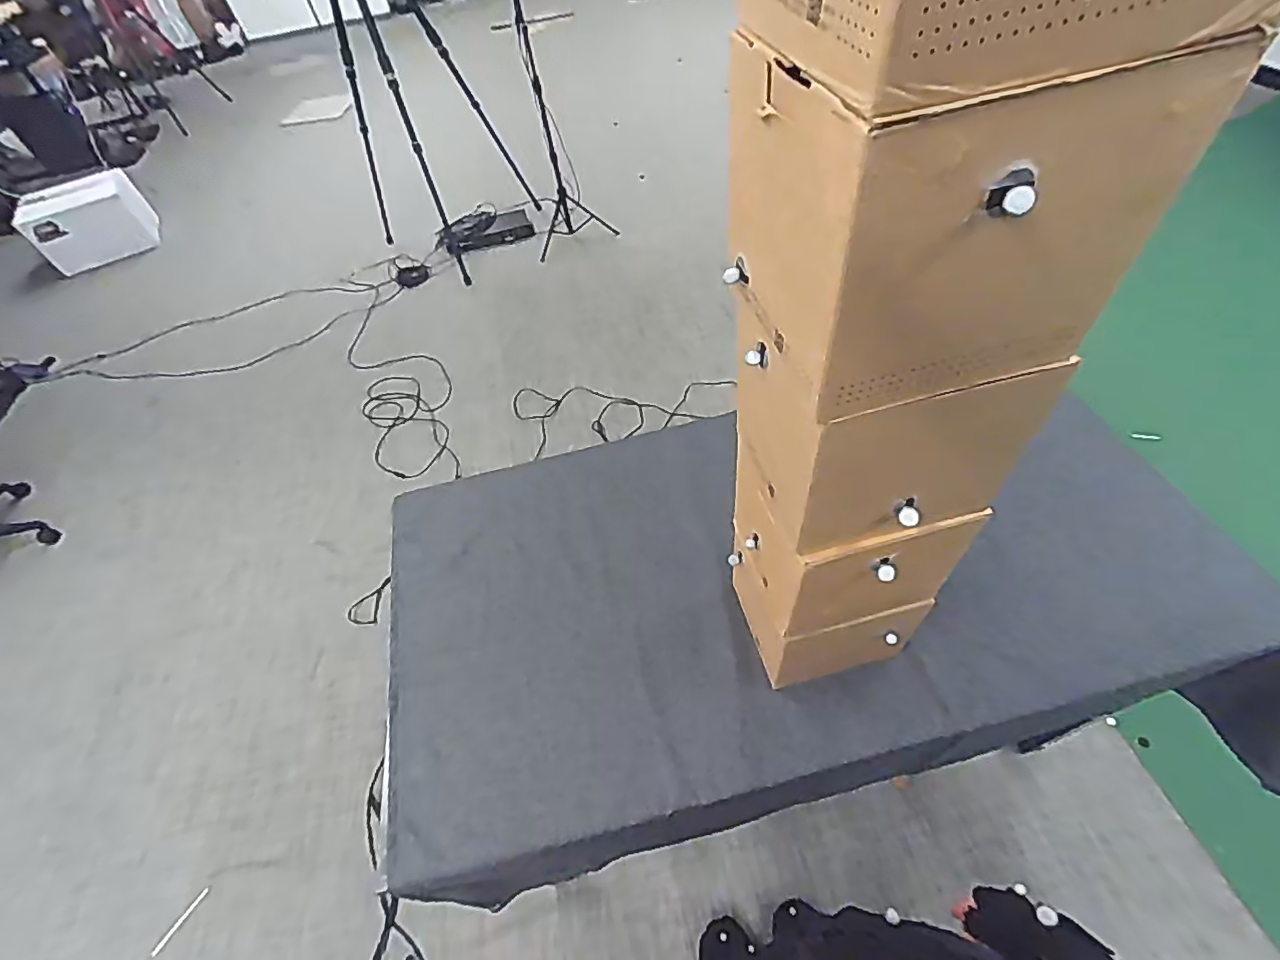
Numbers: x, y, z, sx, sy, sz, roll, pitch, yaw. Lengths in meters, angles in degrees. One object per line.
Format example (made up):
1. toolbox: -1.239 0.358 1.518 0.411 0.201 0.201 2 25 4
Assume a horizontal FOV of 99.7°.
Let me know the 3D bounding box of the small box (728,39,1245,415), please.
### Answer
1. small box: 0.163 -0.163 0.332 0.179 0.176 0.168 -14 51 -3

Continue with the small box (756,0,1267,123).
1. small box: 0.146 -0.264 0.205 0.179 0.176 0.168 -13 52 -1

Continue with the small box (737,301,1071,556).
1. small box: 0.190 -0.059 0.457 0.179 0.176 0.168 -13 50 -2

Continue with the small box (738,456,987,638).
1. small box: 0.214 0.046 0.580 0.179 0.176 0.168 -15 51 -3
